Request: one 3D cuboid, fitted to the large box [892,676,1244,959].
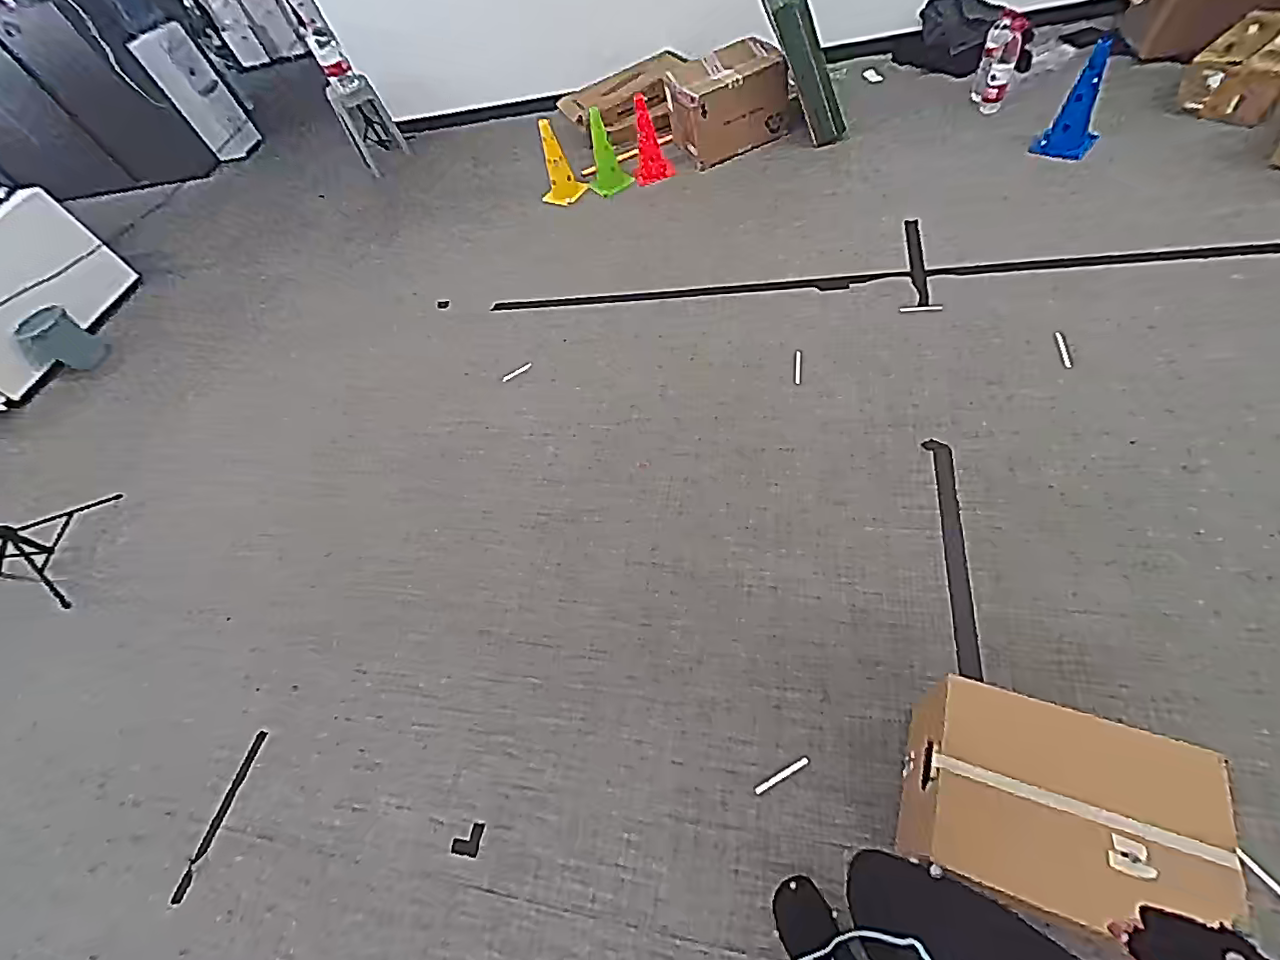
[{"bbox_3d":[0.718,0.605,0.989,0.408,0.320,0.320,13,62,20],"label":"large box"}]
